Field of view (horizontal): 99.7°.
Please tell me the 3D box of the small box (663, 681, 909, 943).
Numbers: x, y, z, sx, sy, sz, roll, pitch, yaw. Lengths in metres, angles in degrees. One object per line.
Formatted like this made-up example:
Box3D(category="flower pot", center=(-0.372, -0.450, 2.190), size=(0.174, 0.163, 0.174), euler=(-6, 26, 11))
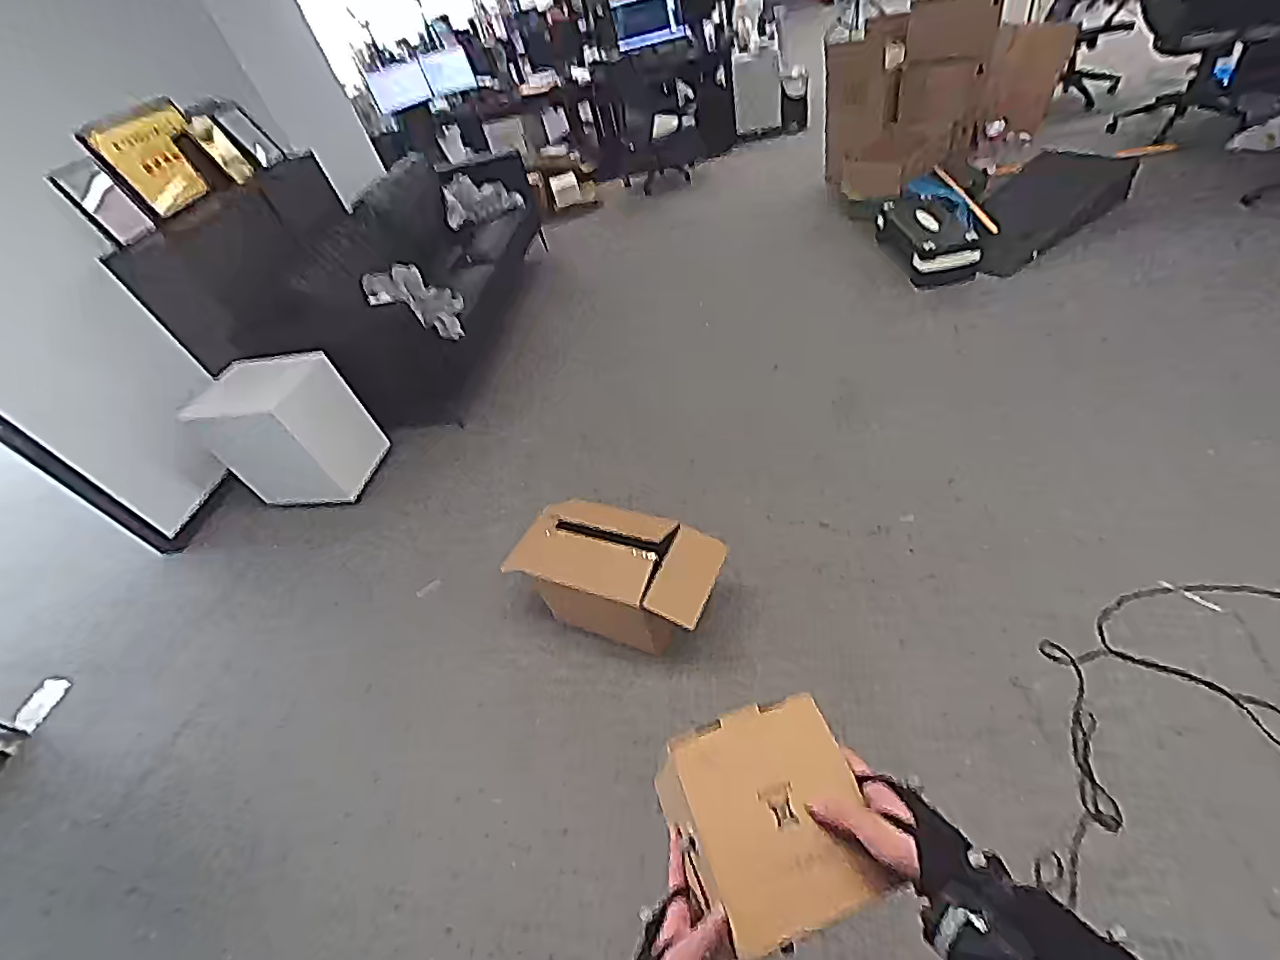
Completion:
Box3D(category="small box", center=(0.126, 0.339, 0.554), size=(0.168, 0.176, 0.179), euler=(-11, 50, -11))
